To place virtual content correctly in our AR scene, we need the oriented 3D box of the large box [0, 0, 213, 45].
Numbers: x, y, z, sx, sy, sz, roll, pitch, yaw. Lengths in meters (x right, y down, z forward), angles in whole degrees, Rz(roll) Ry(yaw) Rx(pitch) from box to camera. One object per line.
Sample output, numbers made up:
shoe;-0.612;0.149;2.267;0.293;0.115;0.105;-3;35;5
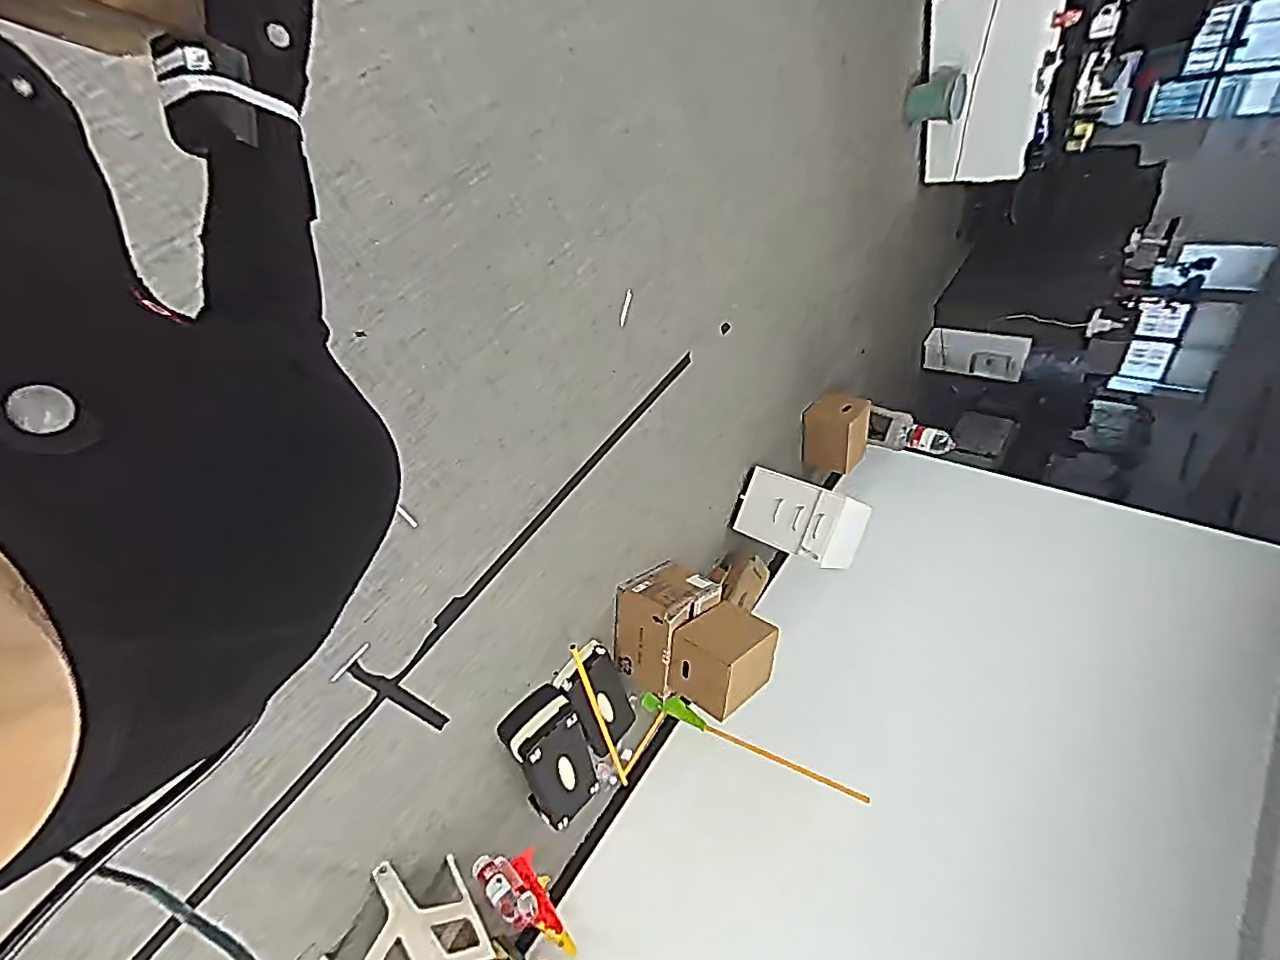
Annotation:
large box;-0.517;-0.495;0.271;0.408;0.320;0.320;-13;123;-51
